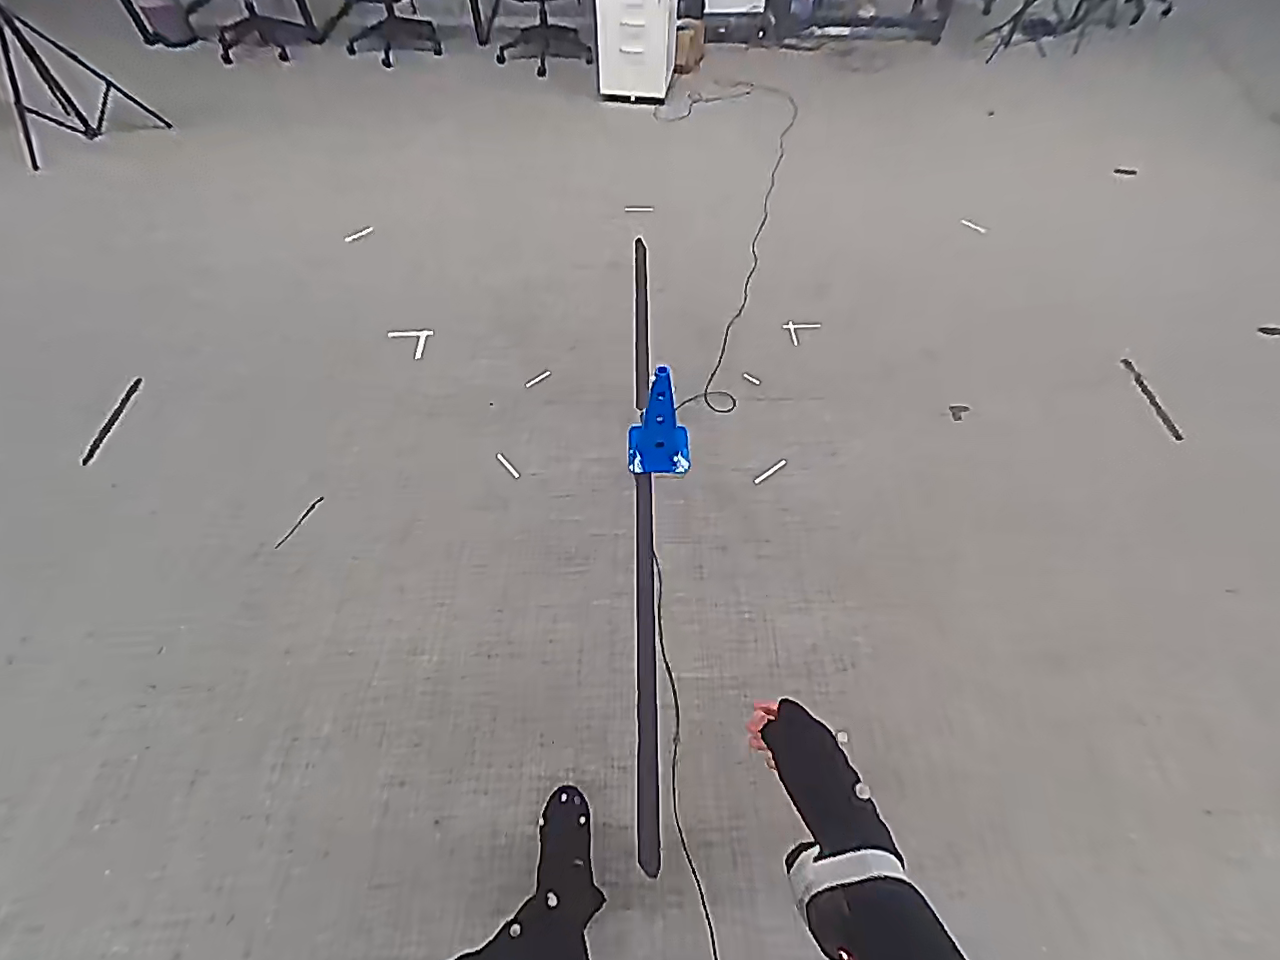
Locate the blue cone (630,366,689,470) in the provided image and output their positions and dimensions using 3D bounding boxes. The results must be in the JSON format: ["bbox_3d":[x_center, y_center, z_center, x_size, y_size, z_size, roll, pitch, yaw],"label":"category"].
[{"bbox_3d":[0.065,-0.205,1.661,0.193,0.380,0.192,-1,54,-2],"label":"blue cone"}]
